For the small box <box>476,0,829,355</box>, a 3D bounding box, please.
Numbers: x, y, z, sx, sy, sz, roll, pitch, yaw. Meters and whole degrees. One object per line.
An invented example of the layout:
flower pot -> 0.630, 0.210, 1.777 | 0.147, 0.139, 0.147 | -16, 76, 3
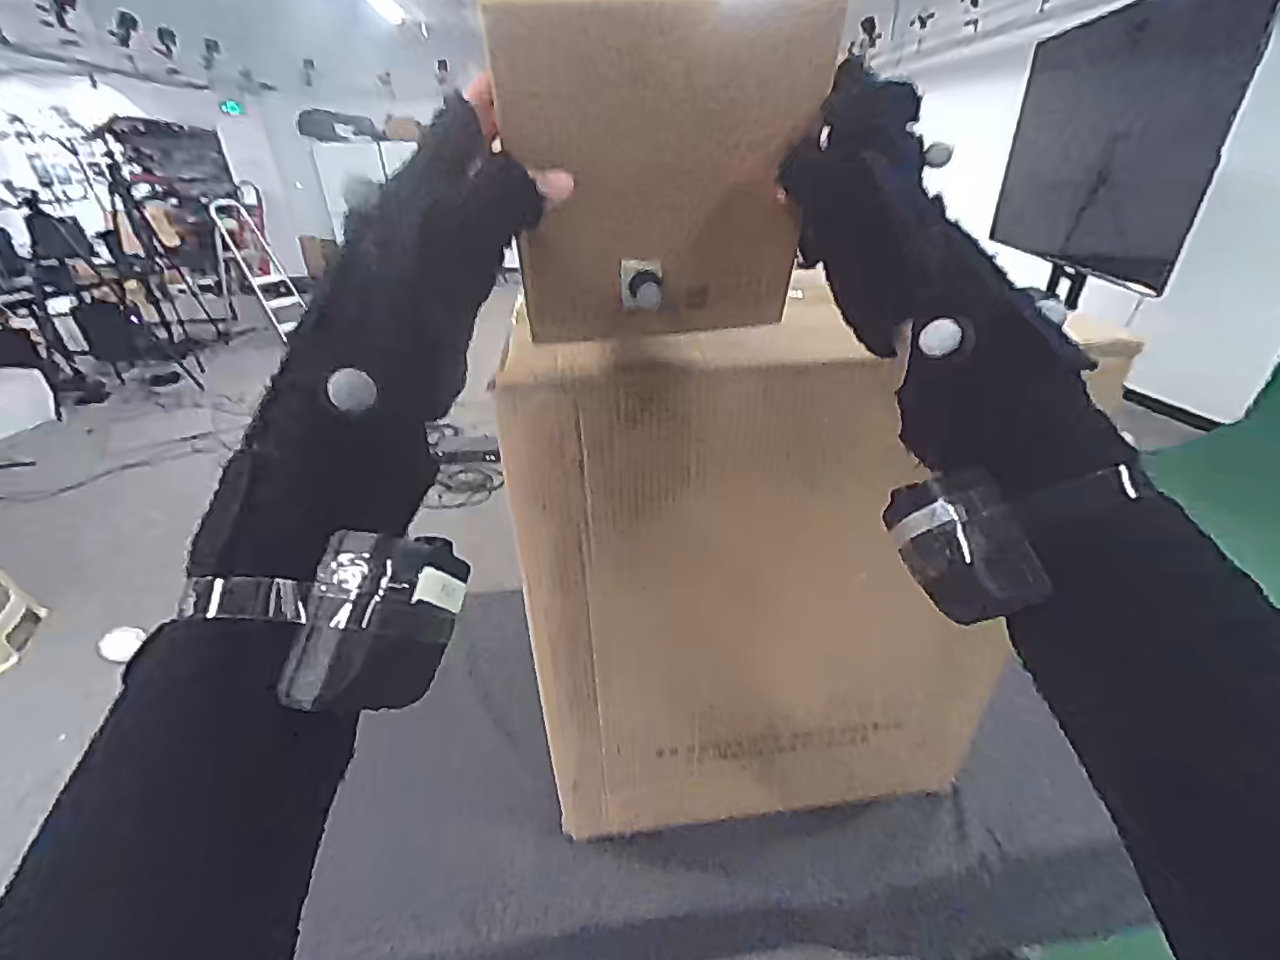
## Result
small box -> -0.006, -0.205, 0.357 | 0.168, 0.176, 0.179 | -10, 47, -7
